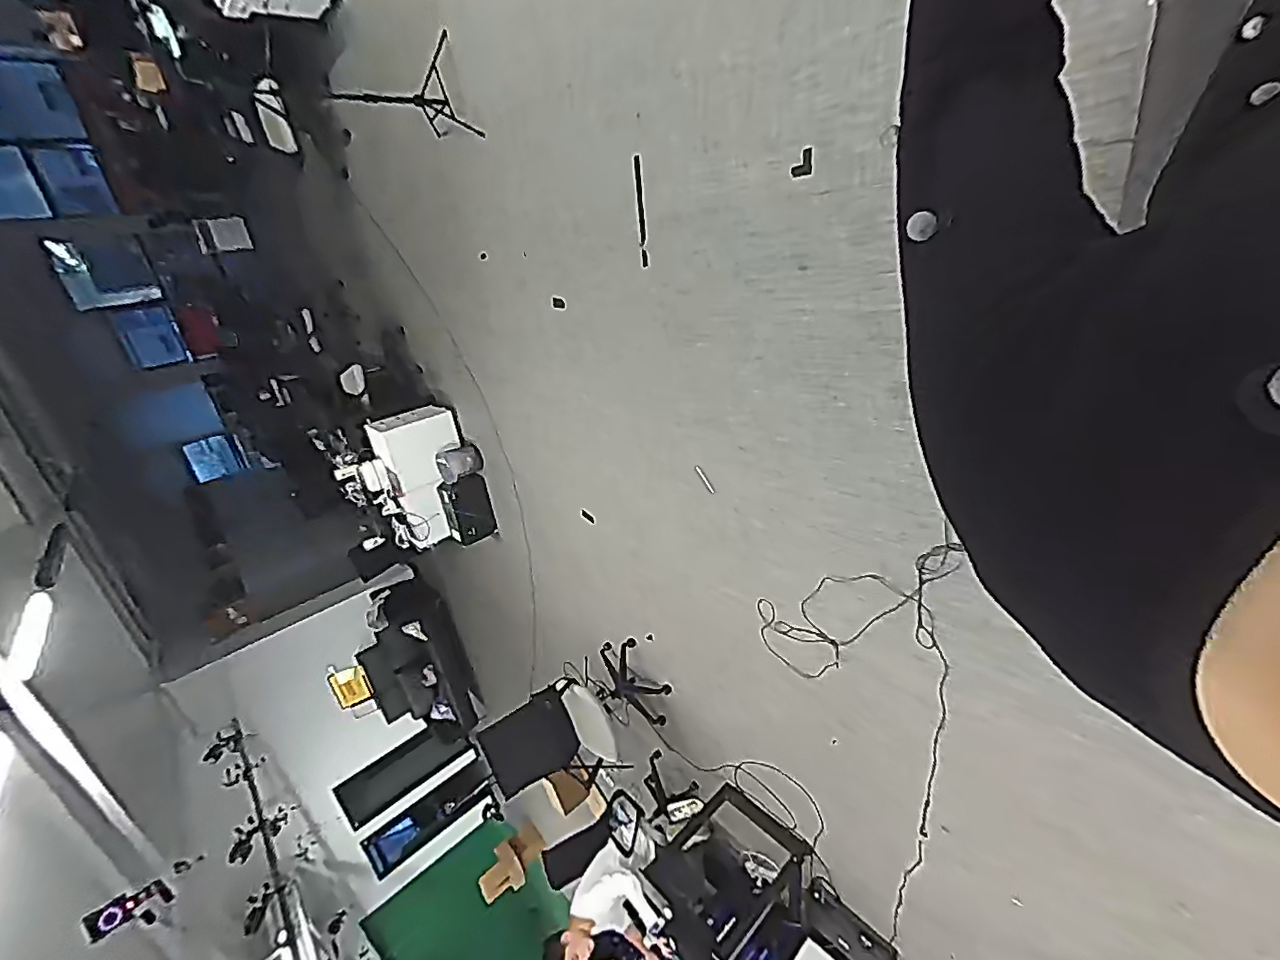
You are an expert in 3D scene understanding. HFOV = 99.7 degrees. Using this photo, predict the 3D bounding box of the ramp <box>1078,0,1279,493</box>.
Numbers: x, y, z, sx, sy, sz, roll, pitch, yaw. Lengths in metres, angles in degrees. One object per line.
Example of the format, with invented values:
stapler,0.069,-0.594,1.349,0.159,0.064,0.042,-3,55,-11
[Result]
ramp,1.154,-0.404,0.956,0.509,0.206,0.991,16,124,45
